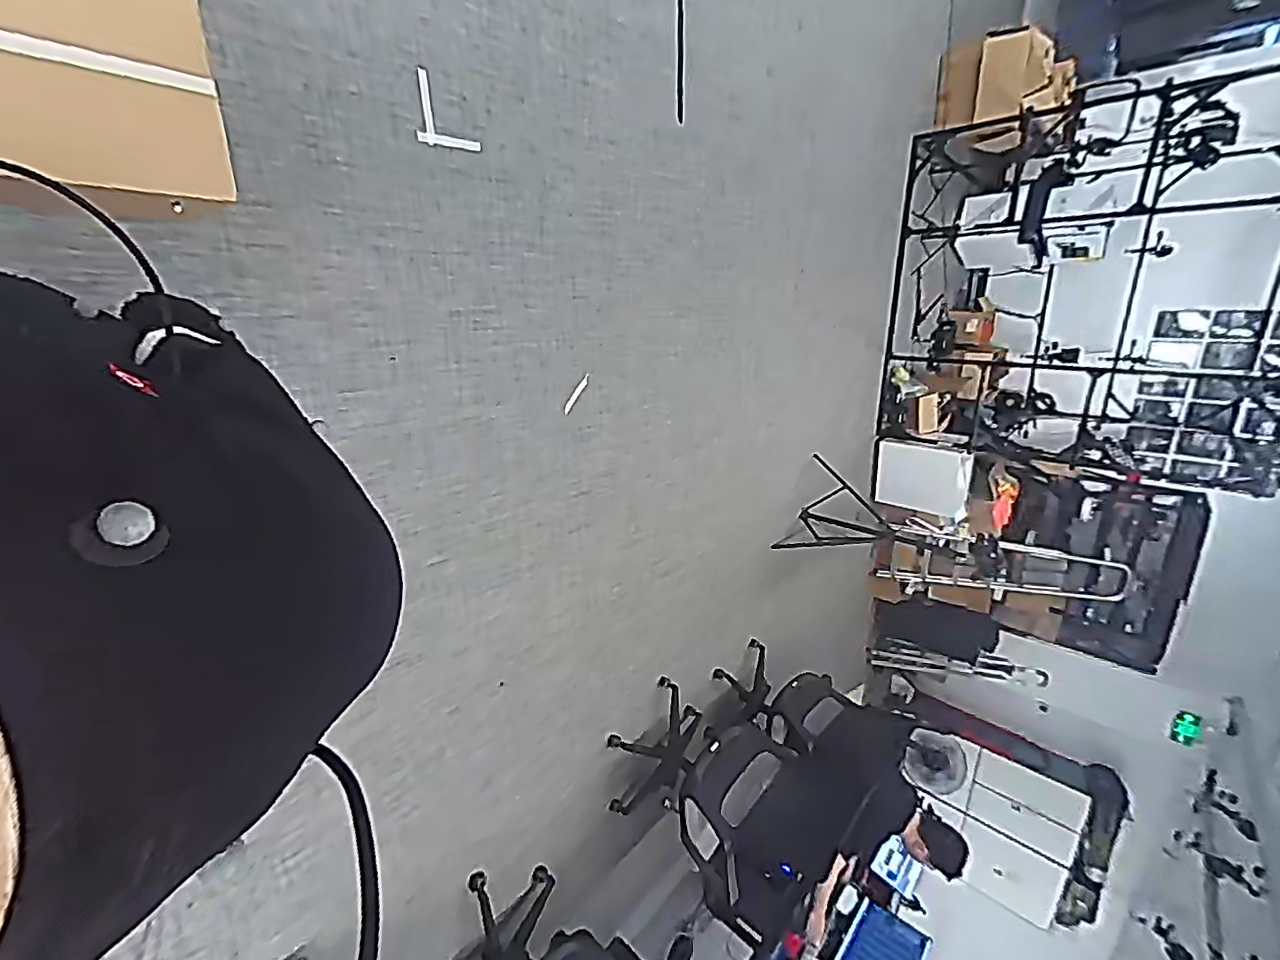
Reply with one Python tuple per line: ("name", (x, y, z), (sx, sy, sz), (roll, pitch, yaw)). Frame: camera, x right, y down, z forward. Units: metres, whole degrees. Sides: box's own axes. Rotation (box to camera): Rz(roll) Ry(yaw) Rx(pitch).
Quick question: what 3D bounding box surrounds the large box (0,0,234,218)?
("large box", (-0.892, -0.569, 0.772), (0.408, 0.320, 0.320), (-20, 116, -46))
